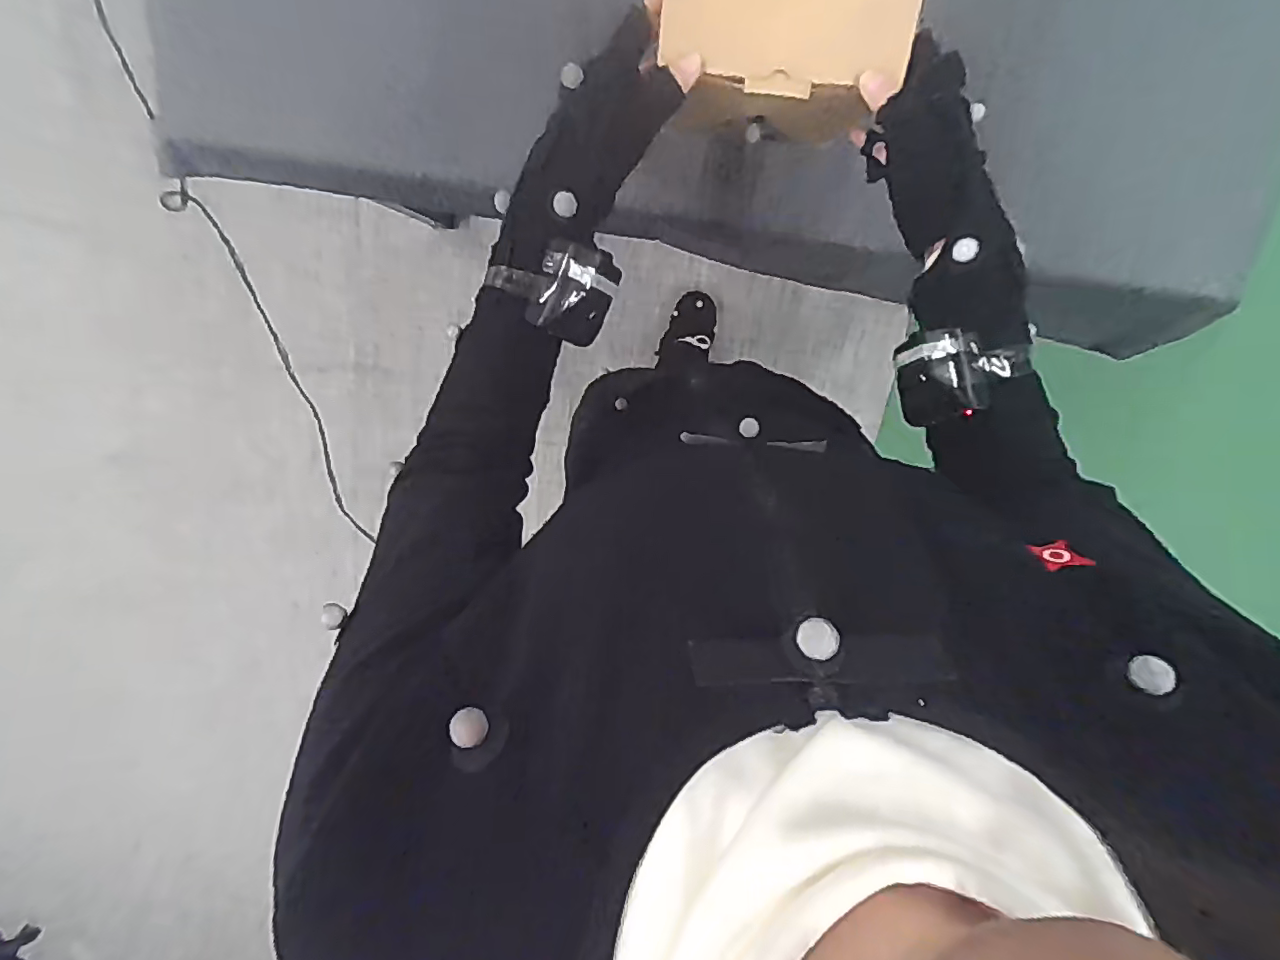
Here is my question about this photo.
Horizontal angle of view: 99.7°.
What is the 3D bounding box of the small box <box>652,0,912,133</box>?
[{"bbox_3d":[0.100,-0.379,0.405,0.168,0.176,0.179,5,112,1],"label":"small box"}]
